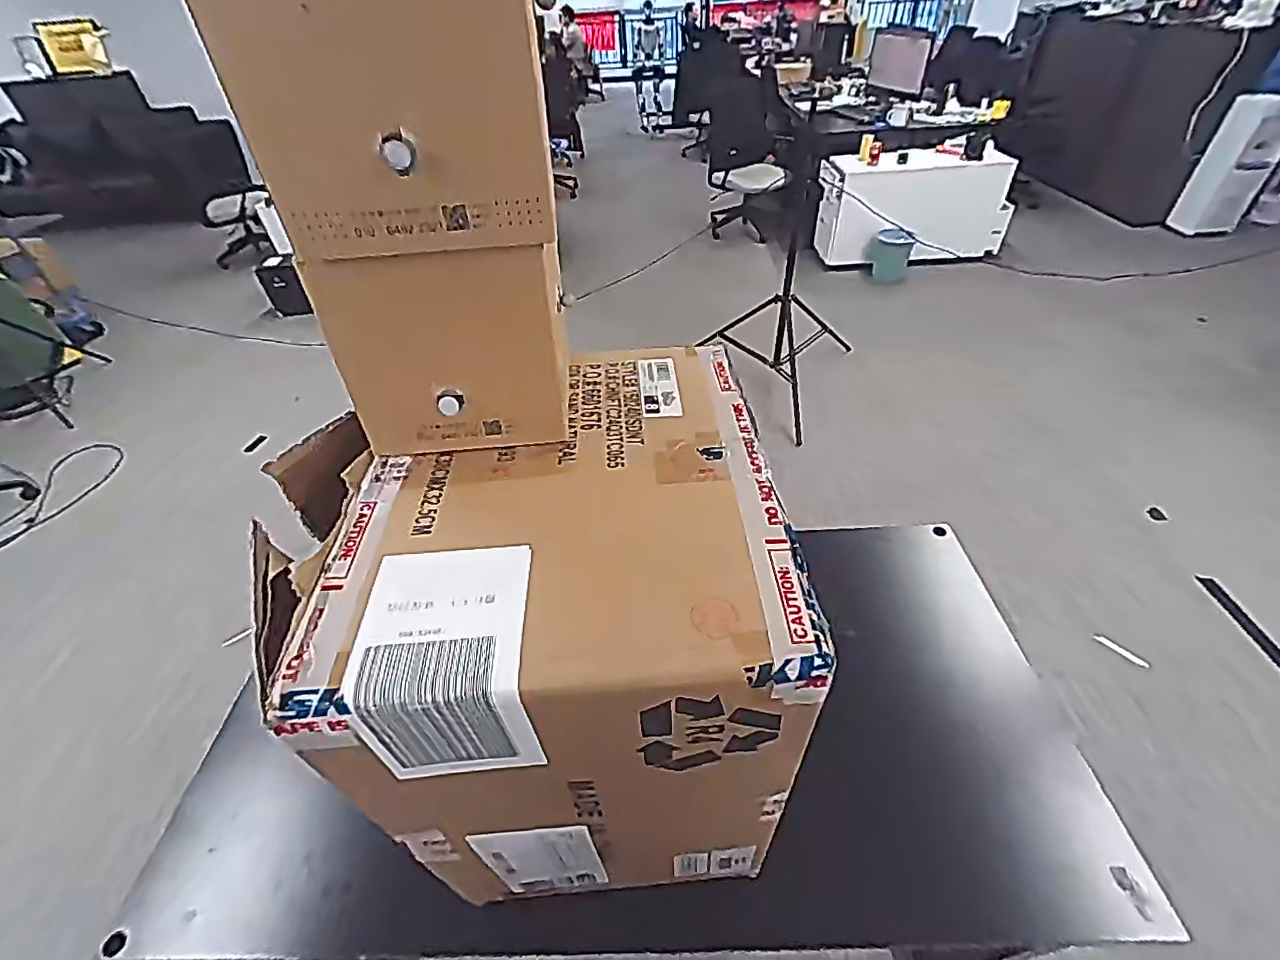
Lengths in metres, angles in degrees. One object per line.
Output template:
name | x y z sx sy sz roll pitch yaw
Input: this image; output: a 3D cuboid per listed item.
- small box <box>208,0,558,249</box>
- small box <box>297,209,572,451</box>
small box | -0.148 -0.266 0.360 0.168 0.176 0.179 -7 41 -5
small box | -0.151 -0.145 0.473 0.168 0.176 0.179 -5 41 -3
